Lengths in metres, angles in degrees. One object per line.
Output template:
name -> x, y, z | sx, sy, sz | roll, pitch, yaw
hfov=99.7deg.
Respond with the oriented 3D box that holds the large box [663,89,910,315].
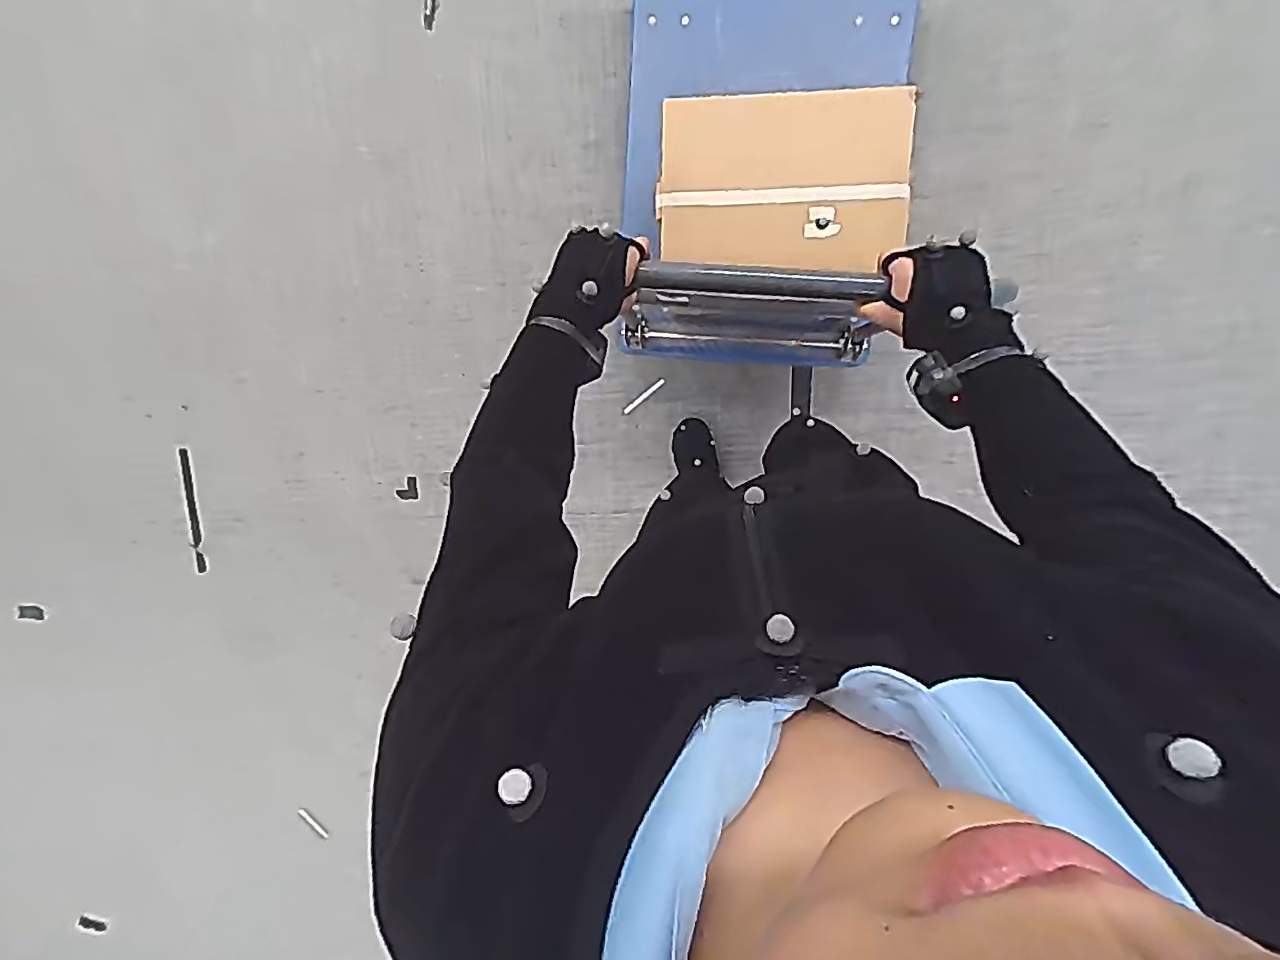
large box -> 0.251, -0.506, 1.060 | 0.408, 0.320, 0.320 | 1, 101, 5
